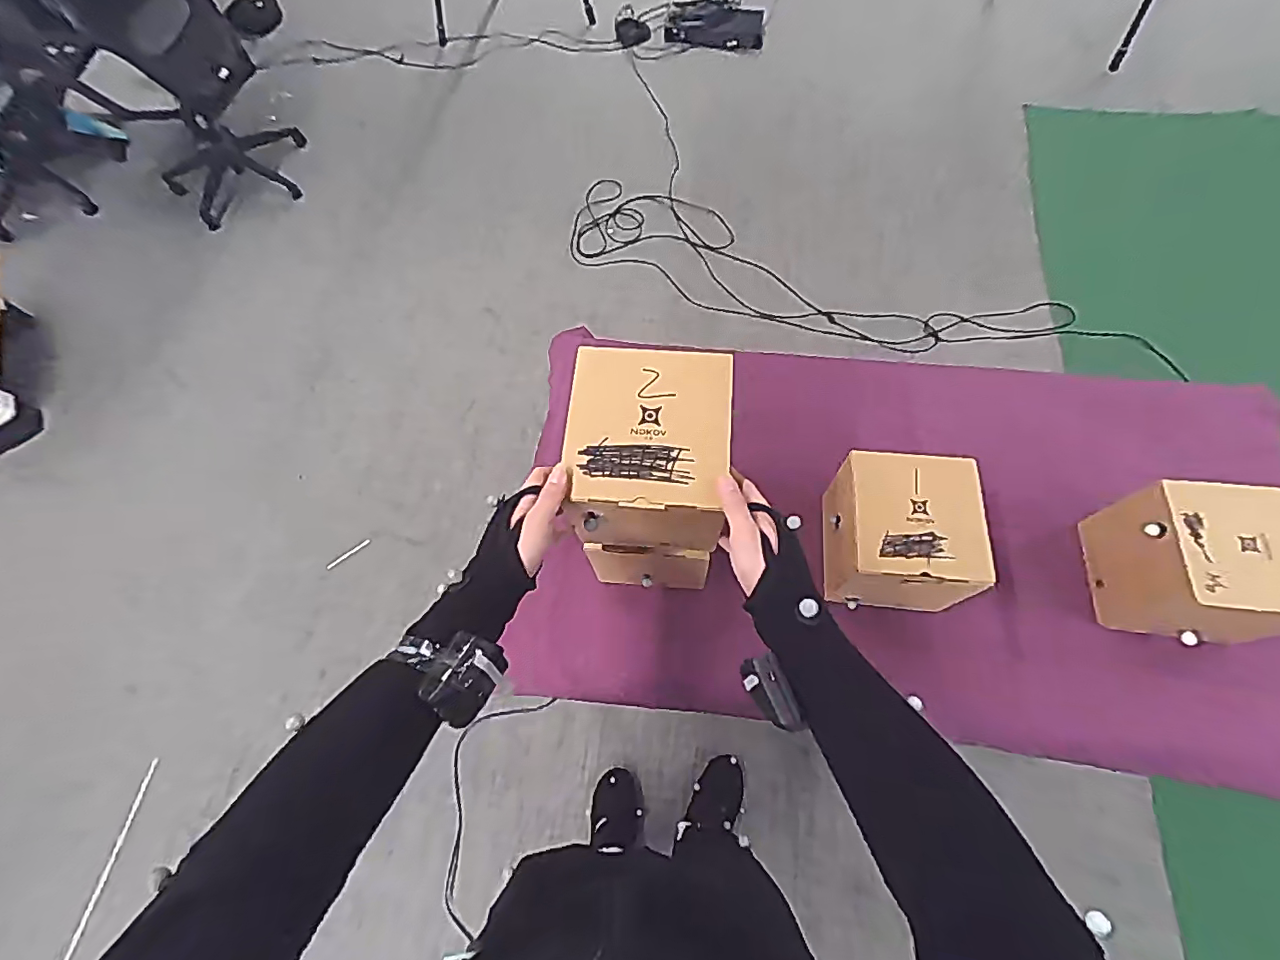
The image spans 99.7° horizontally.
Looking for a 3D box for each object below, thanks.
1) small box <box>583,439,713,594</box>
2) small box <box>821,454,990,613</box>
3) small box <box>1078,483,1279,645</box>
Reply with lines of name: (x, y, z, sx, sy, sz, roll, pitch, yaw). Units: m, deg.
small box: (0.018, 0.058, 0.807, 0.168, 0.176, 0.179, 3, 65, 6)
small box: (0.362, 0.083, 0.773, 0.168, 0.176, 0.179, 5, 64, 6)
small box: (0.749, 0.120, 0.728, 0.179, 0.176, 0.168, 6, 65, 7)
